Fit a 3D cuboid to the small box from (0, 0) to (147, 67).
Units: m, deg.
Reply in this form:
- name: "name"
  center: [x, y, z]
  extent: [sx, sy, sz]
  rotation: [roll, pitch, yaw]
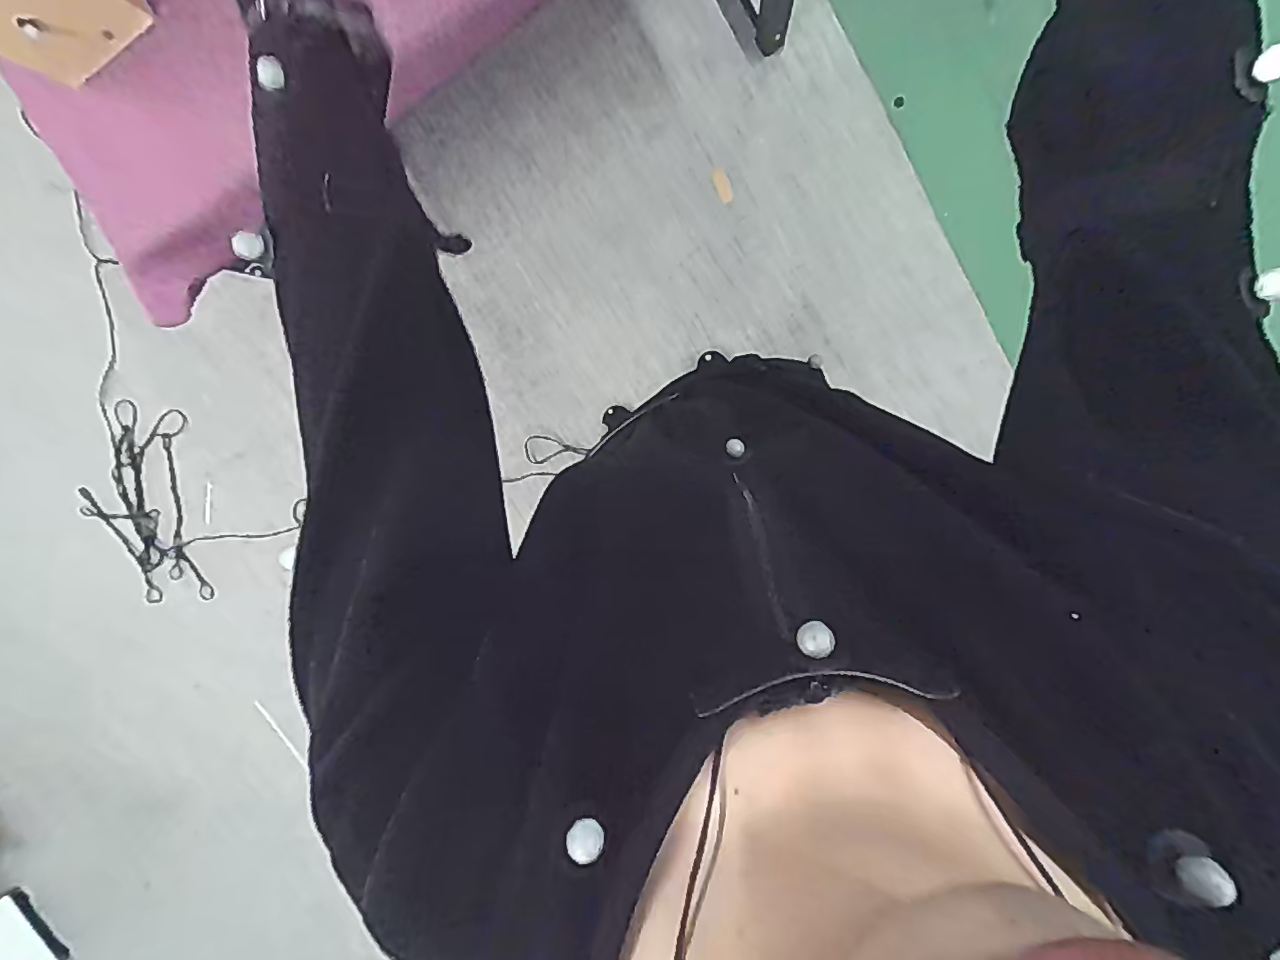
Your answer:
- name: "small box"
  center: [-0.783, -0.663, 0.668]
  extent: [0.168, 0.176, 0.179]
  rotation: [-26, 97, 11]
